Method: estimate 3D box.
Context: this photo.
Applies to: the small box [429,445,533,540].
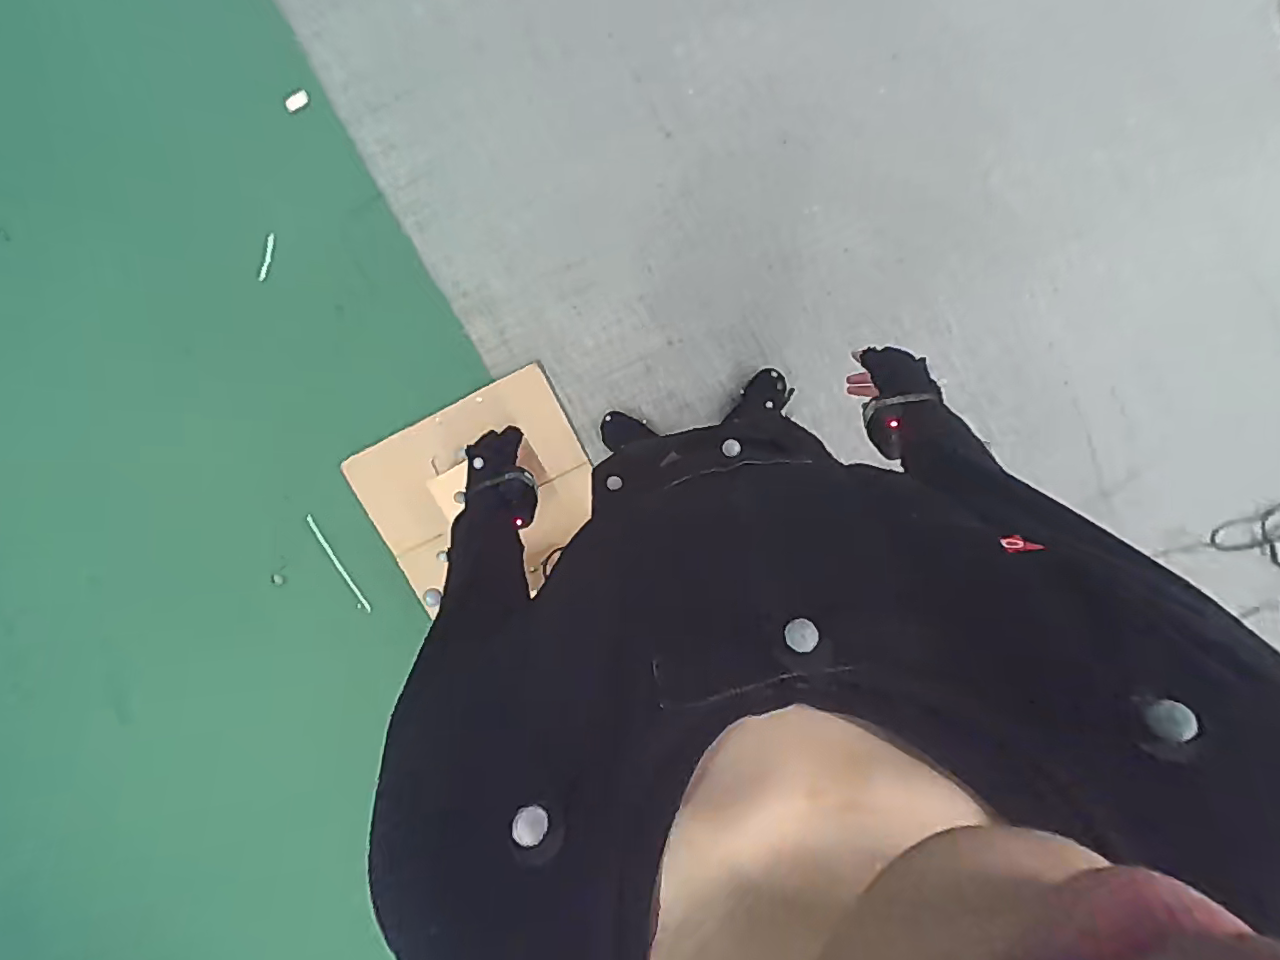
[{"bbox_3d":[-0.396,0.027,1.380,0.179,0.176,0.168,-28,100,4],"label":"small box"}]
